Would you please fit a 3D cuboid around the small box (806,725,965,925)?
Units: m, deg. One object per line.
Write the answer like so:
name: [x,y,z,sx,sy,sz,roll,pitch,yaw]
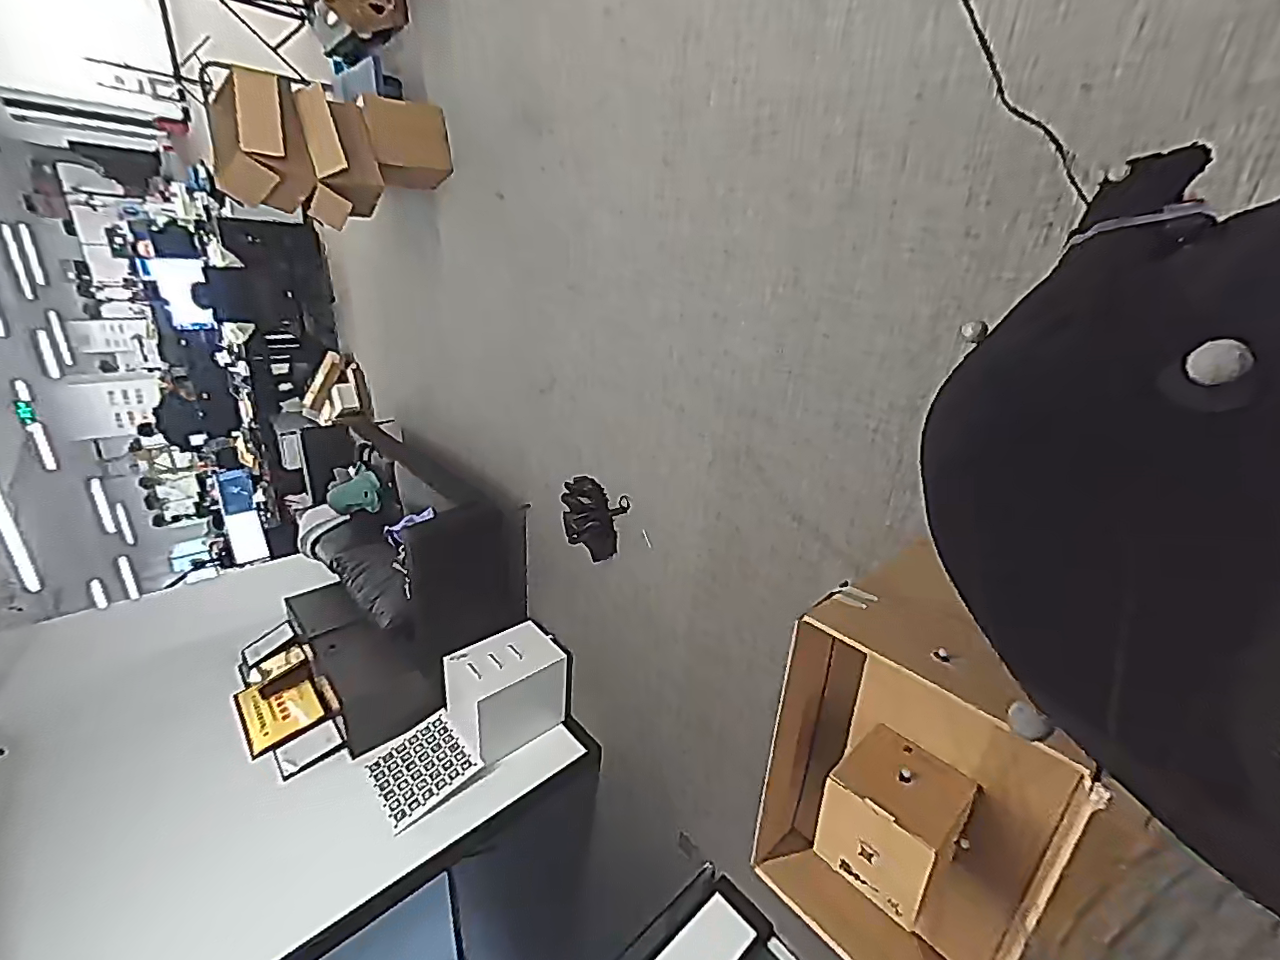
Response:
small box: [0.397,0.540,0.875,0.168,0.176,0.179,24,120,44]
